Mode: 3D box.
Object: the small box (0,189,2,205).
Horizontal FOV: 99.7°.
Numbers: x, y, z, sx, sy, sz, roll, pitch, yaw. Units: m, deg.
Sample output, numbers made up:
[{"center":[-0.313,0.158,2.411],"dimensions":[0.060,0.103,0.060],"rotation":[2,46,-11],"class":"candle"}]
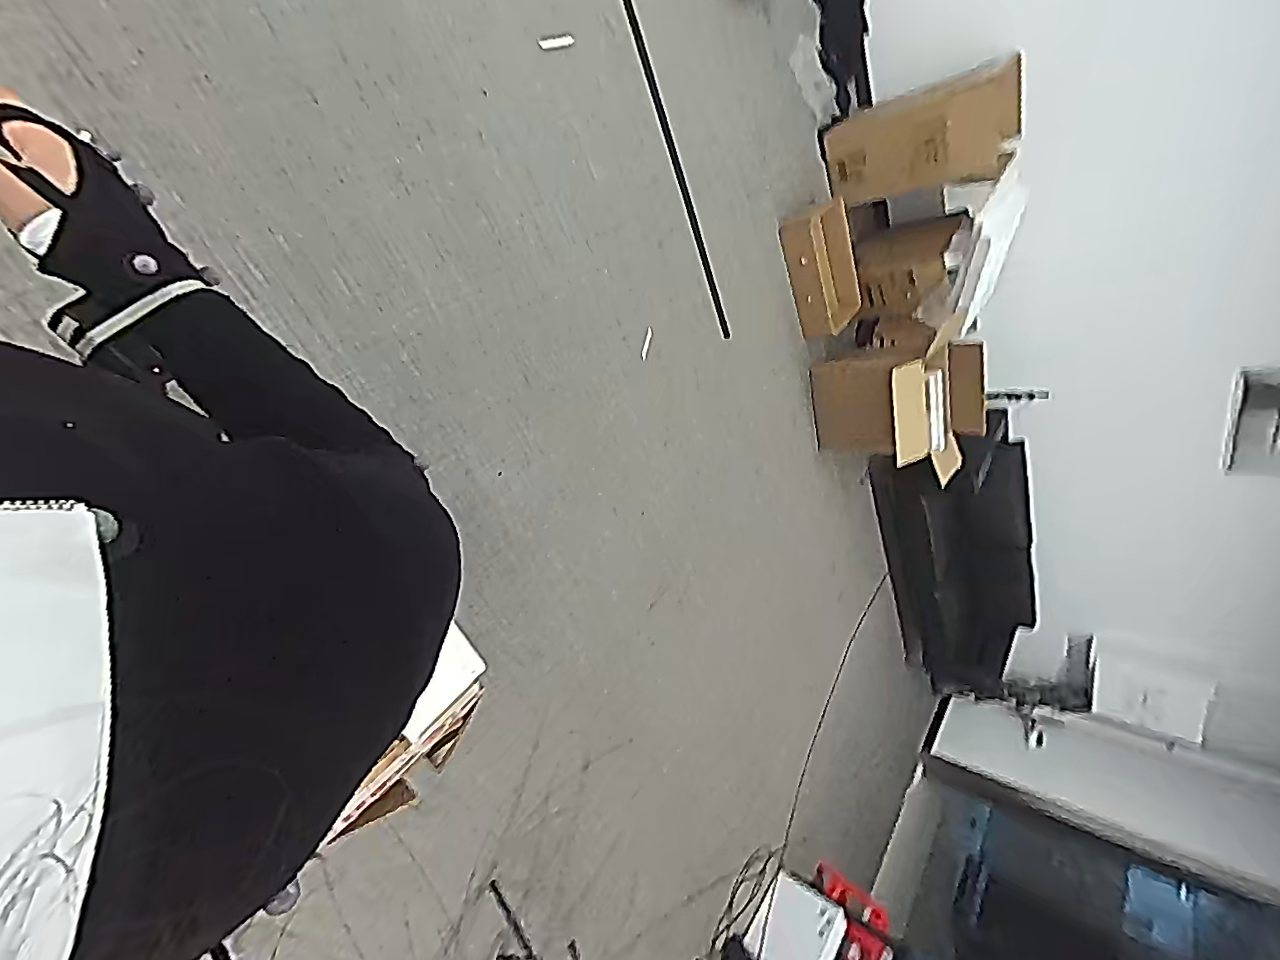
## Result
[{"center":[-0.533,-0.254,0.313],"dimensions":[0.179,0.176,0.168],"rotation":[-20,118,-46],"class":"small box"}]
